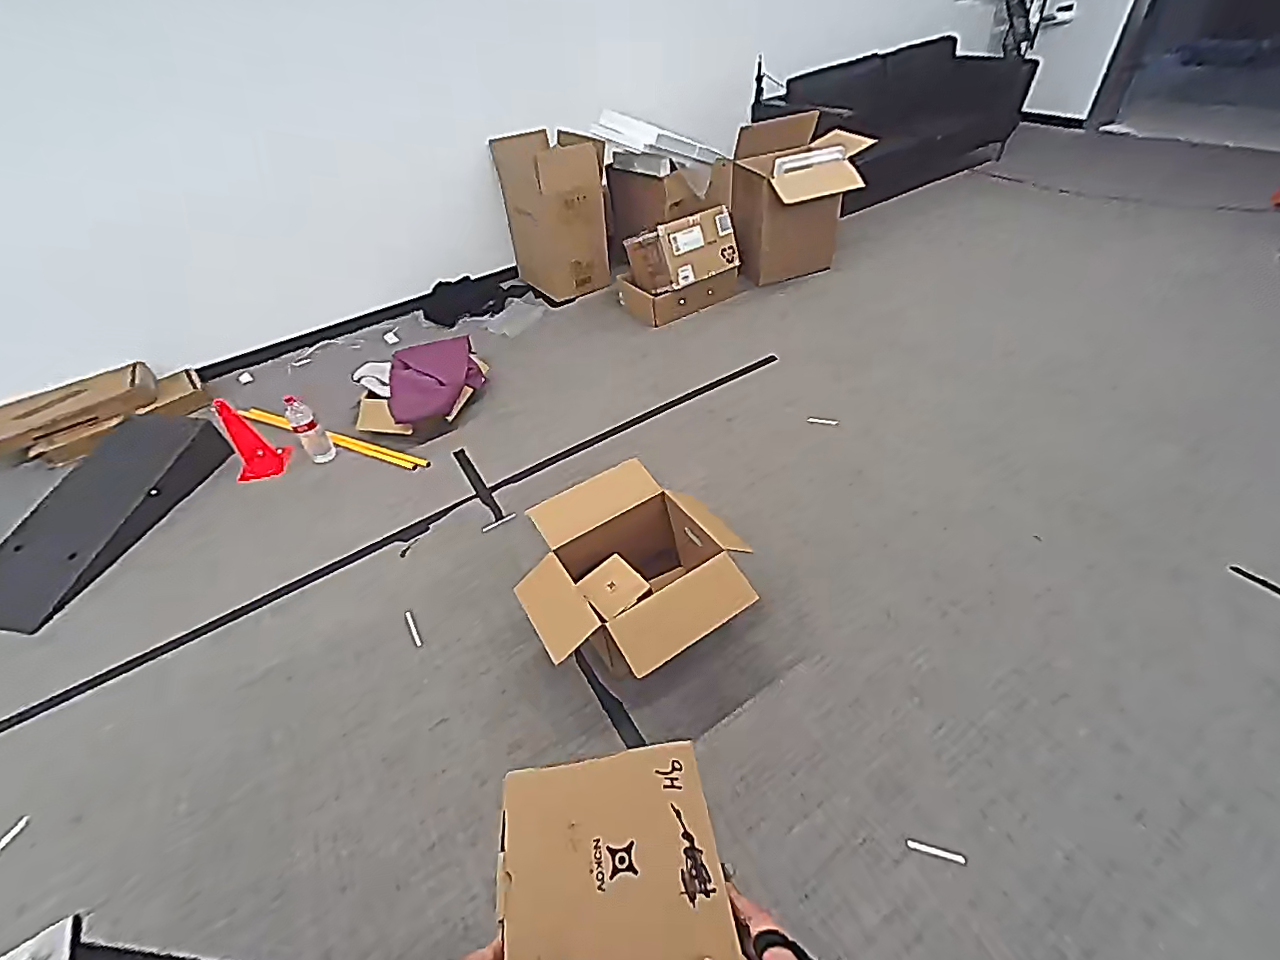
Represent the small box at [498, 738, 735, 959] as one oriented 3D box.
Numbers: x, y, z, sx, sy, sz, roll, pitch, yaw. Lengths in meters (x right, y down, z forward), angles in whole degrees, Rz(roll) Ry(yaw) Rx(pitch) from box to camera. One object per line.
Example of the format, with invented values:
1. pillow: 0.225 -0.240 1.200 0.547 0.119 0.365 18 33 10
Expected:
1. small box: -0.025 0.366 0.495 0.179 0.176 0.168 -7 44 -7
